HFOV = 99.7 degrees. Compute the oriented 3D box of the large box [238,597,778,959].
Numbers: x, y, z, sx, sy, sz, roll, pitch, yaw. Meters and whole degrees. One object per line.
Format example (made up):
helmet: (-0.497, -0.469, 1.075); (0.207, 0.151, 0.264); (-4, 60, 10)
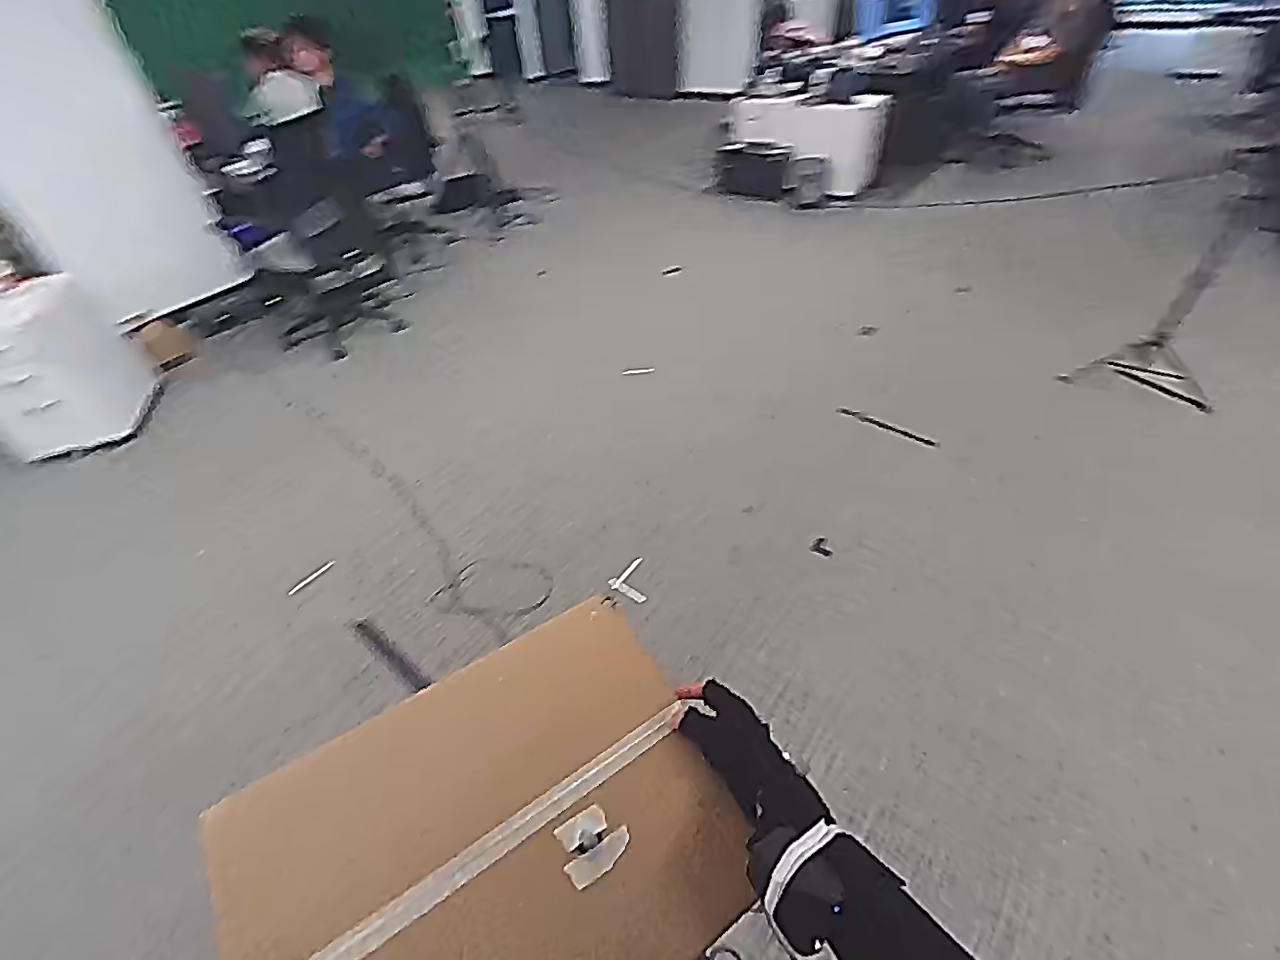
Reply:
large box: (-0.129, 0.411, 0.603); (0.408, 0.320, 0.320); (-24, 58, -23)
